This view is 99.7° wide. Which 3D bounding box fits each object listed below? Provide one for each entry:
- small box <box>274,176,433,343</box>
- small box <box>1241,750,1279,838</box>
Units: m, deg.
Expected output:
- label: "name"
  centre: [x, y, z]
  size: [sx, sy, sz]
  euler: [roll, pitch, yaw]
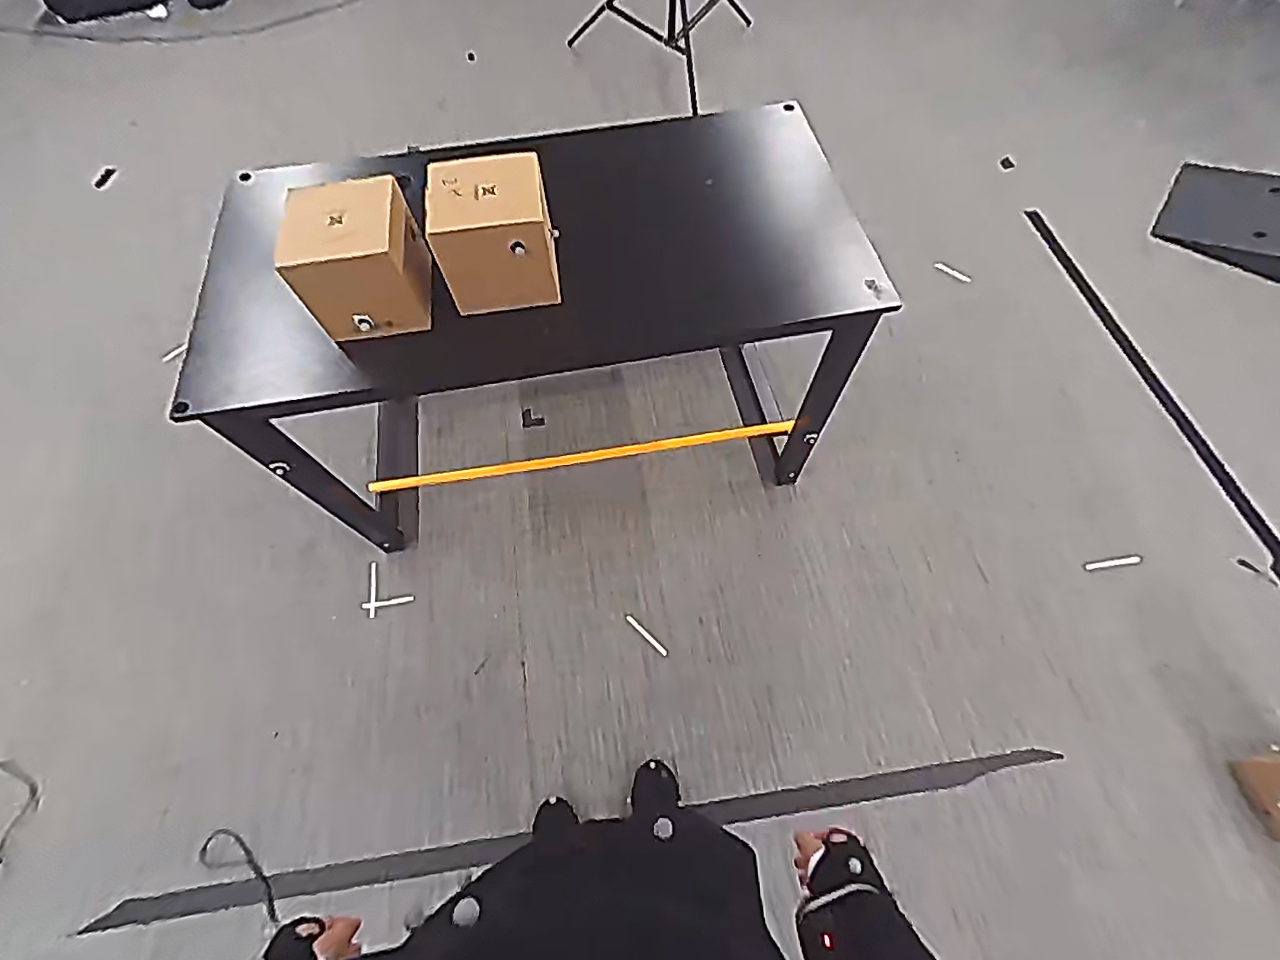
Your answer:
- label: "small box"
  centre: [-0.449, -0.352, 0.877]
  size: [0.168, 0.176, 0.179]
  euler: [-10, 65, -2]
- label: "small box"
  centre: [1.448, 0.666, 1.137]
  size: [0.179, 0.176, 0.168]
  euler: [-12, 64, -3]
